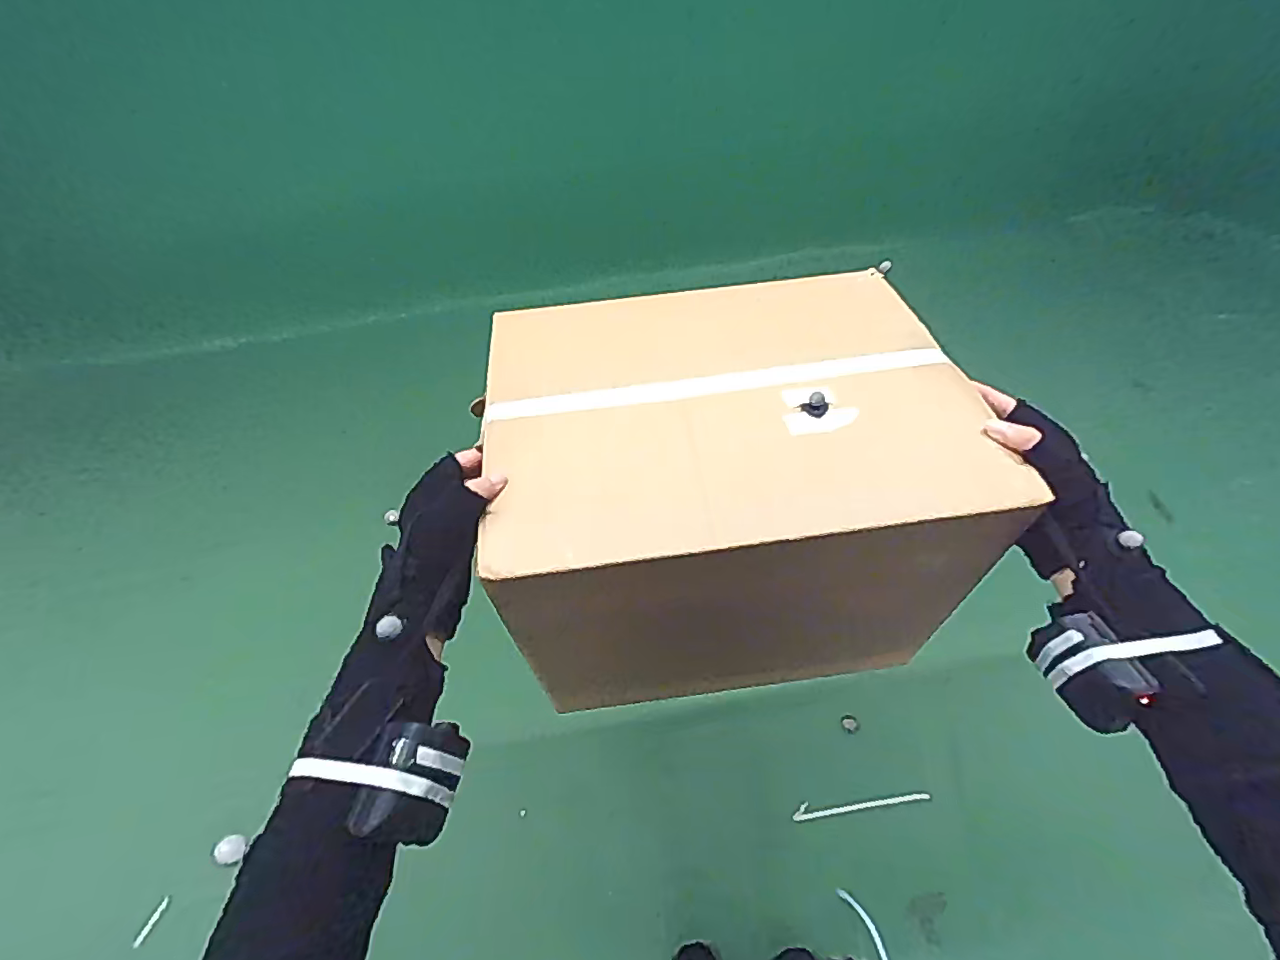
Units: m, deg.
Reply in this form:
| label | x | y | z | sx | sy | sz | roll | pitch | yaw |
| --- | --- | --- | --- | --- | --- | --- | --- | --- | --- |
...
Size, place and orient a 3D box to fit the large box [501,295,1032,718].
| label | x | y | z | sx | sy | sz | roll | pitch | yaw |
| --- | --- | --- | --- | --- | --- | --- | --- | --- | --- |
| large box | 0.081 | 0.032 | 0.595 | 0.408 | 0.320 | 0.320 | -7 | 51 | -3 |
